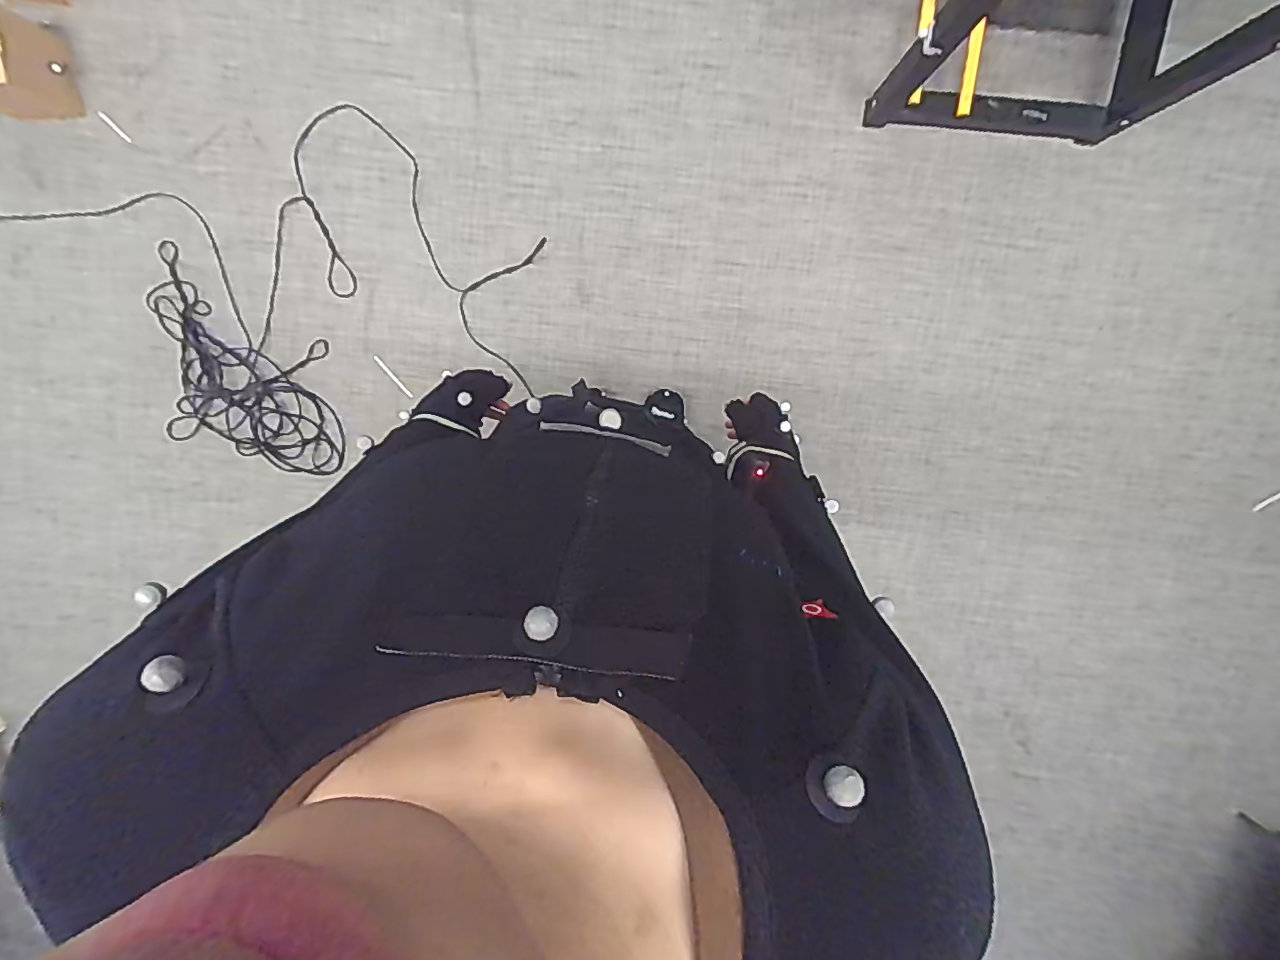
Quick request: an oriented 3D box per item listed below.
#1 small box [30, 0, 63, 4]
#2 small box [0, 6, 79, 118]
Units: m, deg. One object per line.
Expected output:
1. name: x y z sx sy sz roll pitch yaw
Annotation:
1. small box: -1.441 -1.203 1.194 0.179 0.176 0.168 6 101 -1
2. small box: -1.468 -0.957 1.240 0.179 0.176 0.168 -2 102 1
